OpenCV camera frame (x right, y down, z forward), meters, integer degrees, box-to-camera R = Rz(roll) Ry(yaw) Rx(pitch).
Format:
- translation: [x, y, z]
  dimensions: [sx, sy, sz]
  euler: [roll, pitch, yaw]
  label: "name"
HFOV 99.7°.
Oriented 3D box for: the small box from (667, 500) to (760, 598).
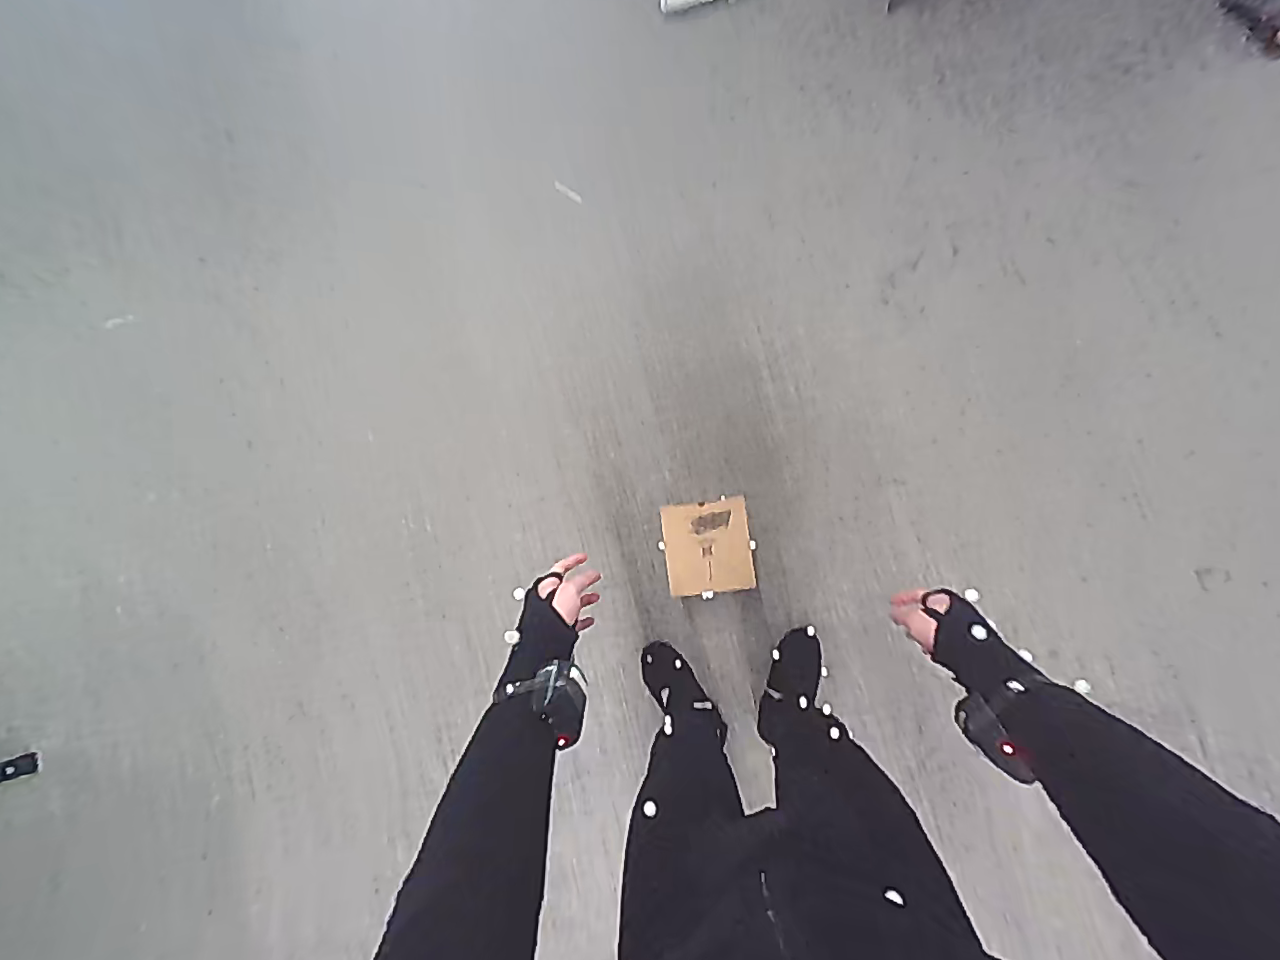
- translation: [0.148, 0.145, 1.121]
  dimensions: [0.168, 0.176, 0.179]
  euler: [-8, 82, 6]
  label: "small box"
